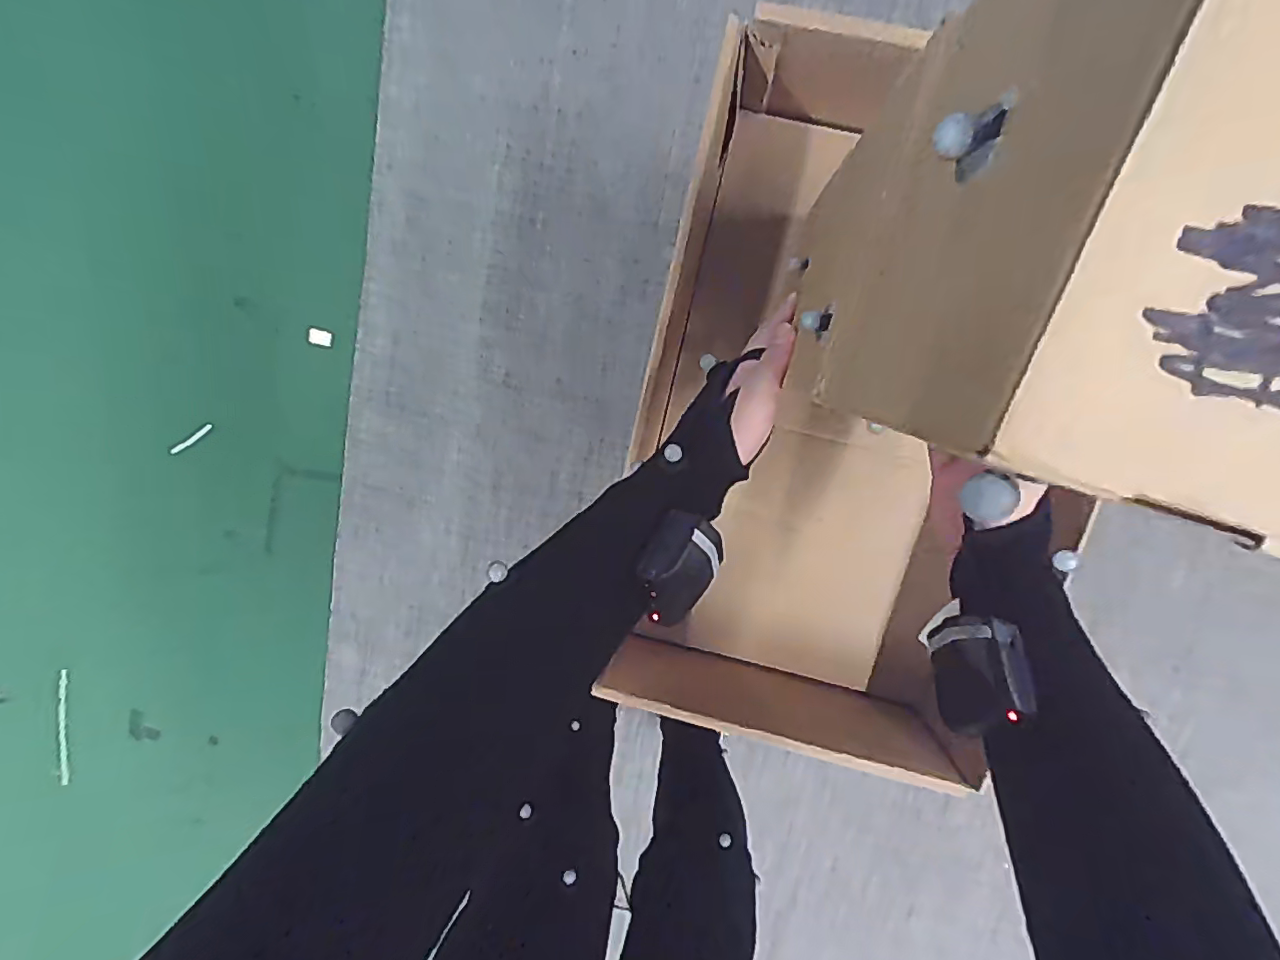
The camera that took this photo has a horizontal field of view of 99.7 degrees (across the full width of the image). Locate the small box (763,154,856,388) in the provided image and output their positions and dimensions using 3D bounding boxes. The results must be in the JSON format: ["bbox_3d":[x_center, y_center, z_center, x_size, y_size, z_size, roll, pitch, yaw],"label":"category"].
[{"bbox_3d":[0.219,-0.155,0.490,0.168,0.176,0.179,17,104,4],"label":"small box"}]

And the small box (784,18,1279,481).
[{"bbox_3d":[0.199,-0.119,0.332,0.168,0.176,0.179,16,104,3],"label":"small box"}]
